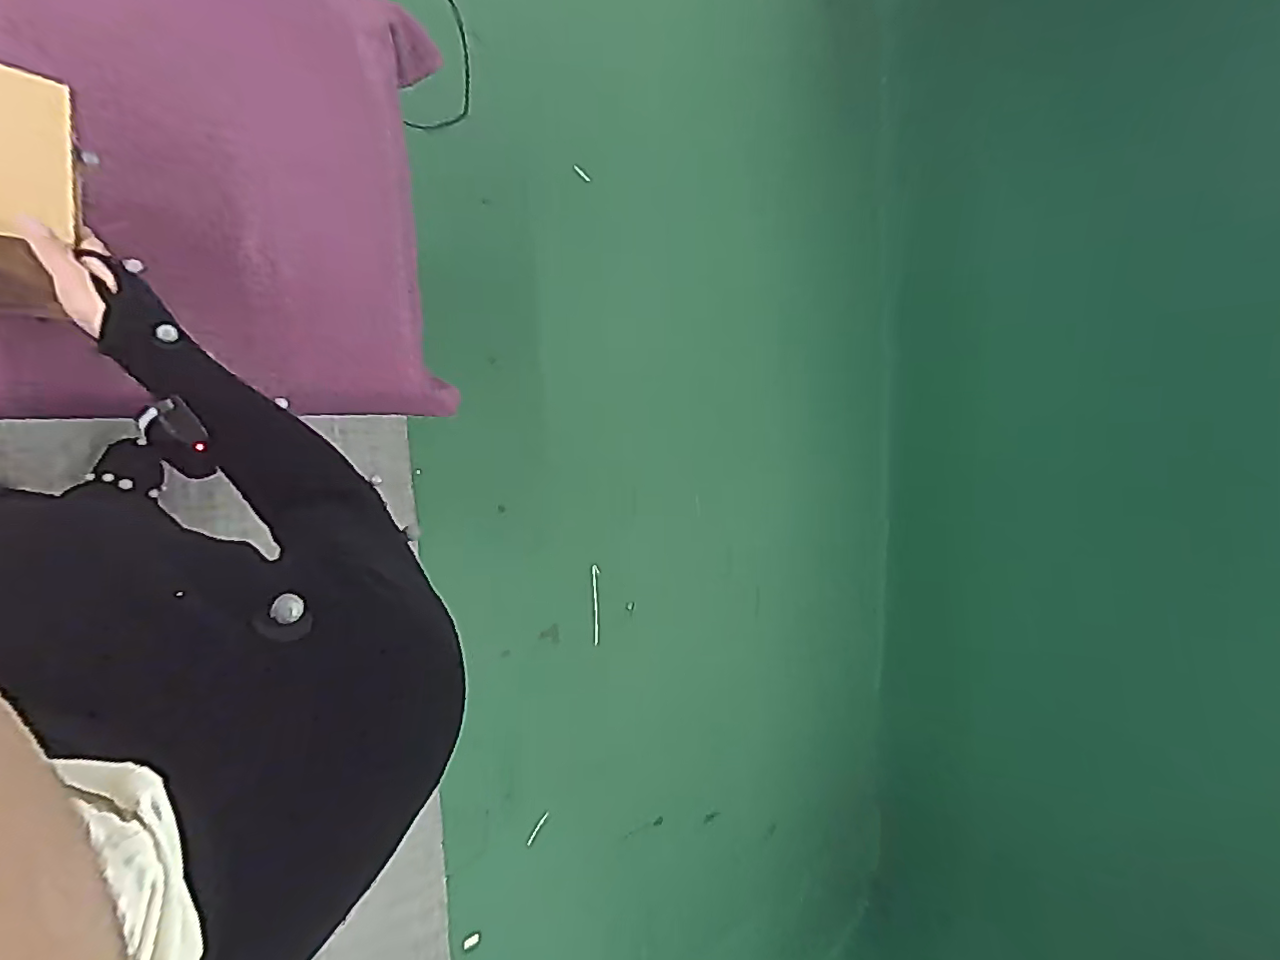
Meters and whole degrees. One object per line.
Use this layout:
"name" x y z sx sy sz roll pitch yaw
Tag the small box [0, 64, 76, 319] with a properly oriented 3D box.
"small box" -0.653 -0.277 0.506 0.168 0.176 0.179 -2 80 -44
